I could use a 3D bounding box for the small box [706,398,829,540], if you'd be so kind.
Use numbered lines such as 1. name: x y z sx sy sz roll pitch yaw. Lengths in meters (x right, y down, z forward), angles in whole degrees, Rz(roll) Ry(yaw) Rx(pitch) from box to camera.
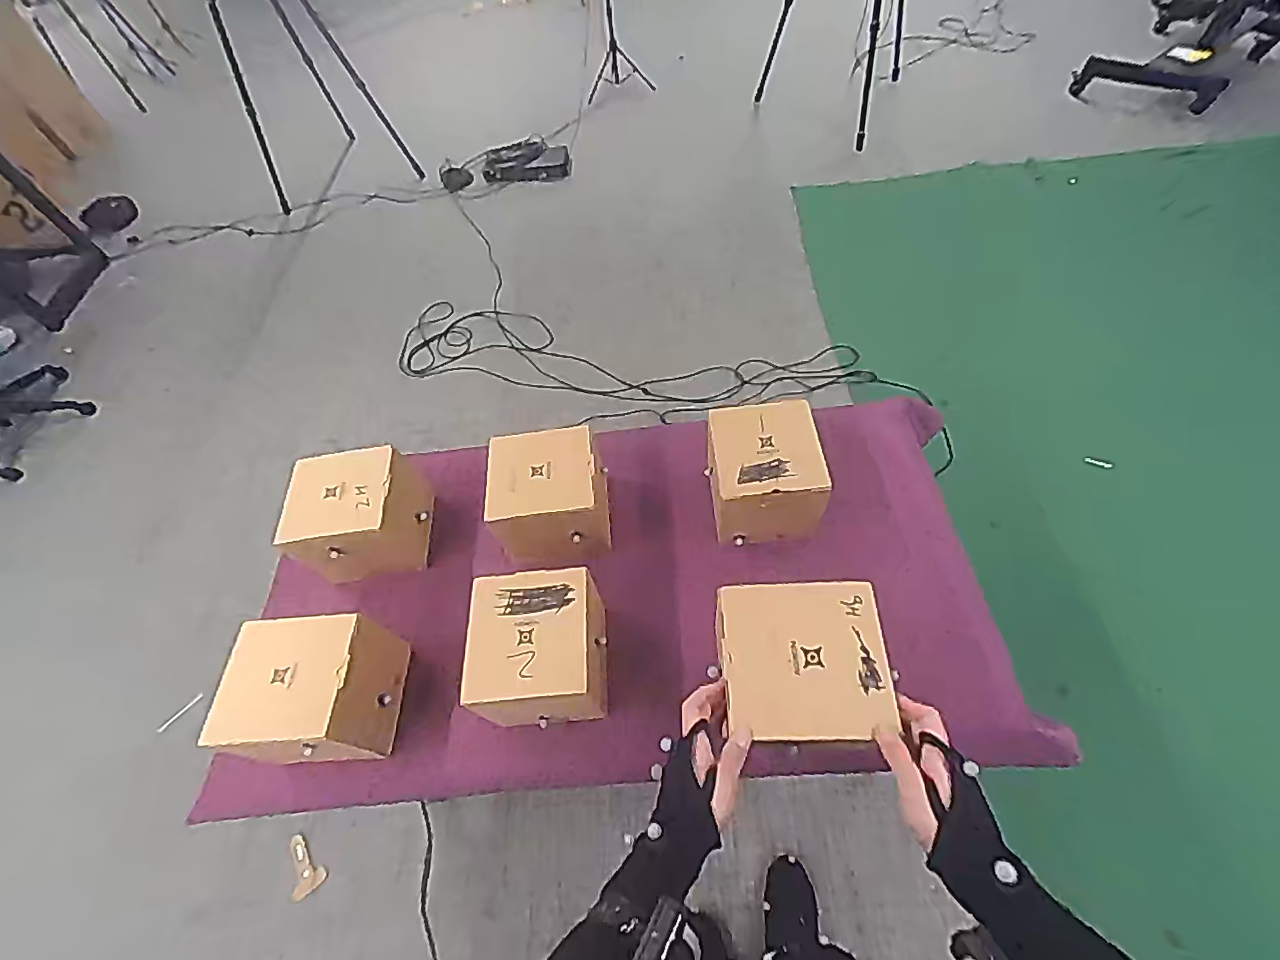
1. small box: 0.203 -0.010 0.901 0.168 0.176 0.179 -6 56 4

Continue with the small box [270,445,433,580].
1. small box: -0.489 0.063 0.945 0.179 0.176 0.168 -8 57 2

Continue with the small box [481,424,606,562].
1. small box: -0.154 0.027 0.927 0.179 0.176 0.168 -7 57 4

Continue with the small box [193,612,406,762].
1. small box: -0.475 0.306 0.787 0.179 0.176 0.168 -5 55 3
